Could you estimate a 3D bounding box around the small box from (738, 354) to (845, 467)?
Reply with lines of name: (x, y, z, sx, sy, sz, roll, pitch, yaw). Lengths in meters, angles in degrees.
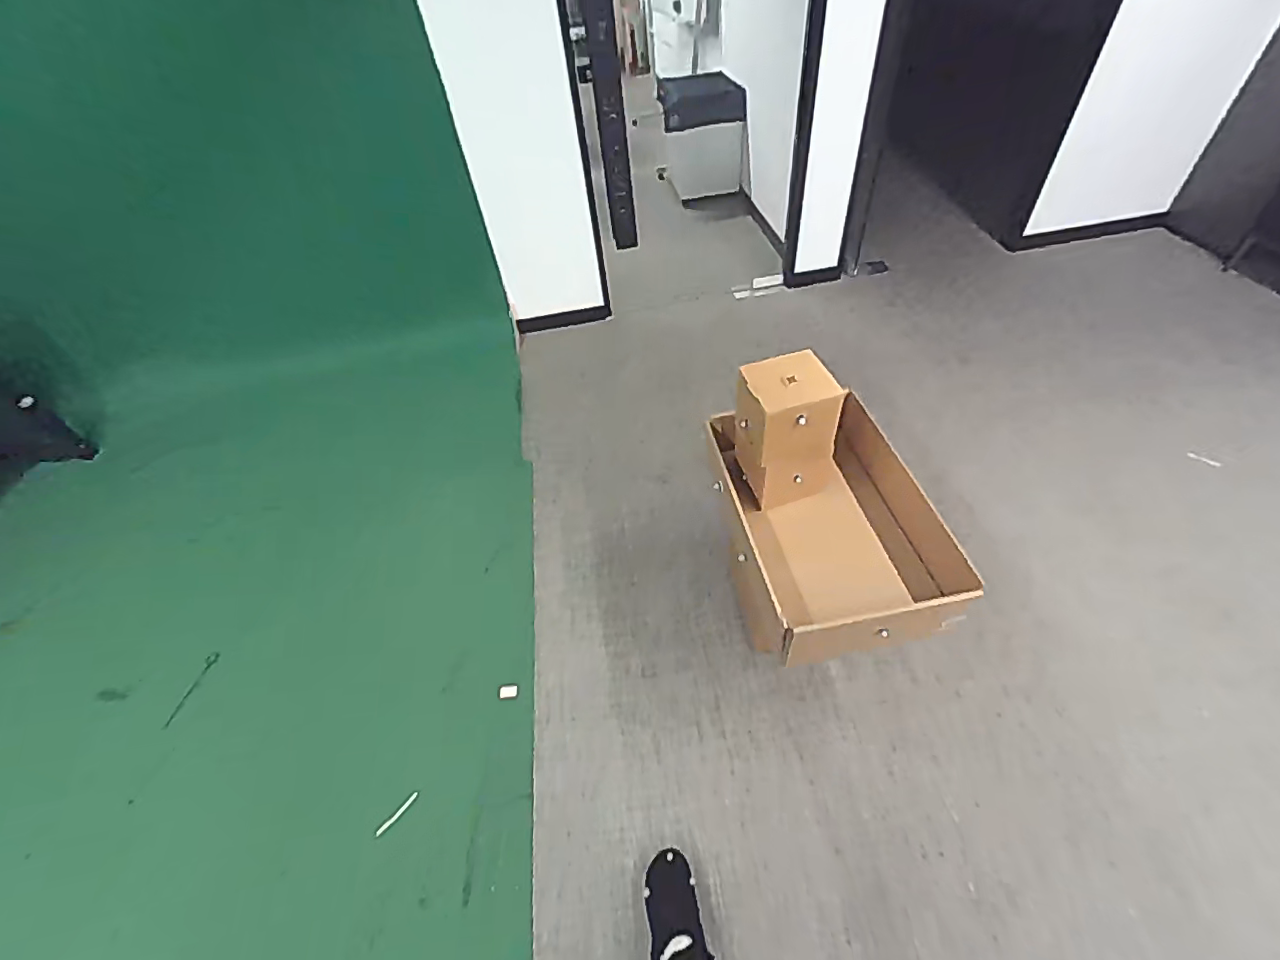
small box: (0.331, -0.155, 1.222, 0.179, 0.176, 0.168, -15, 49, -4)
